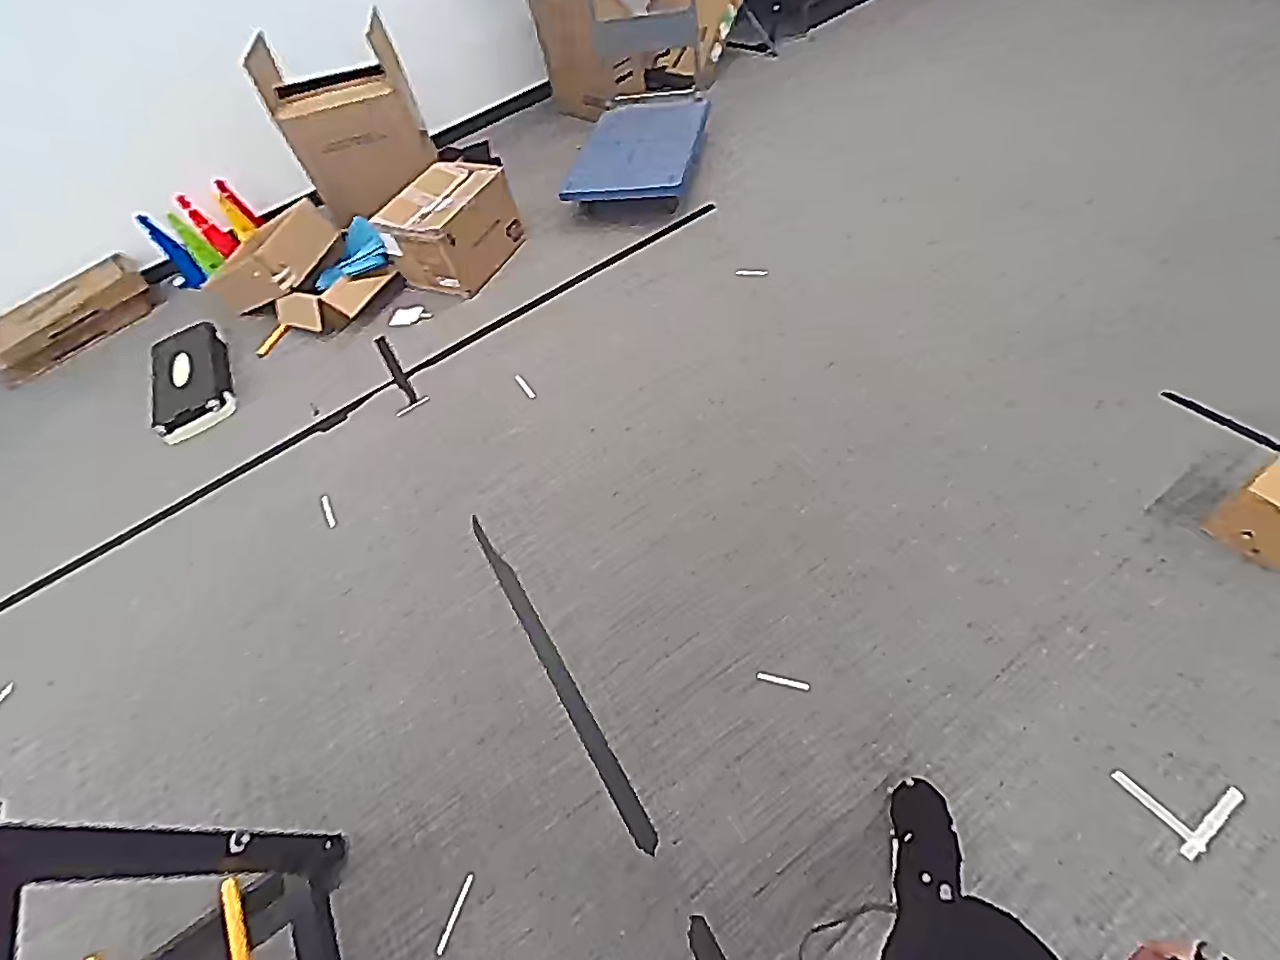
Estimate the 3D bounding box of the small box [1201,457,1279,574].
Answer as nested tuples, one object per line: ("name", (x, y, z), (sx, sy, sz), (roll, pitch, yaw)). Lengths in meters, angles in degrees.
("small box", (1.452, 0.078, 1.226), (0.179, 0.176, 0.168), (-36, 56, -12))
